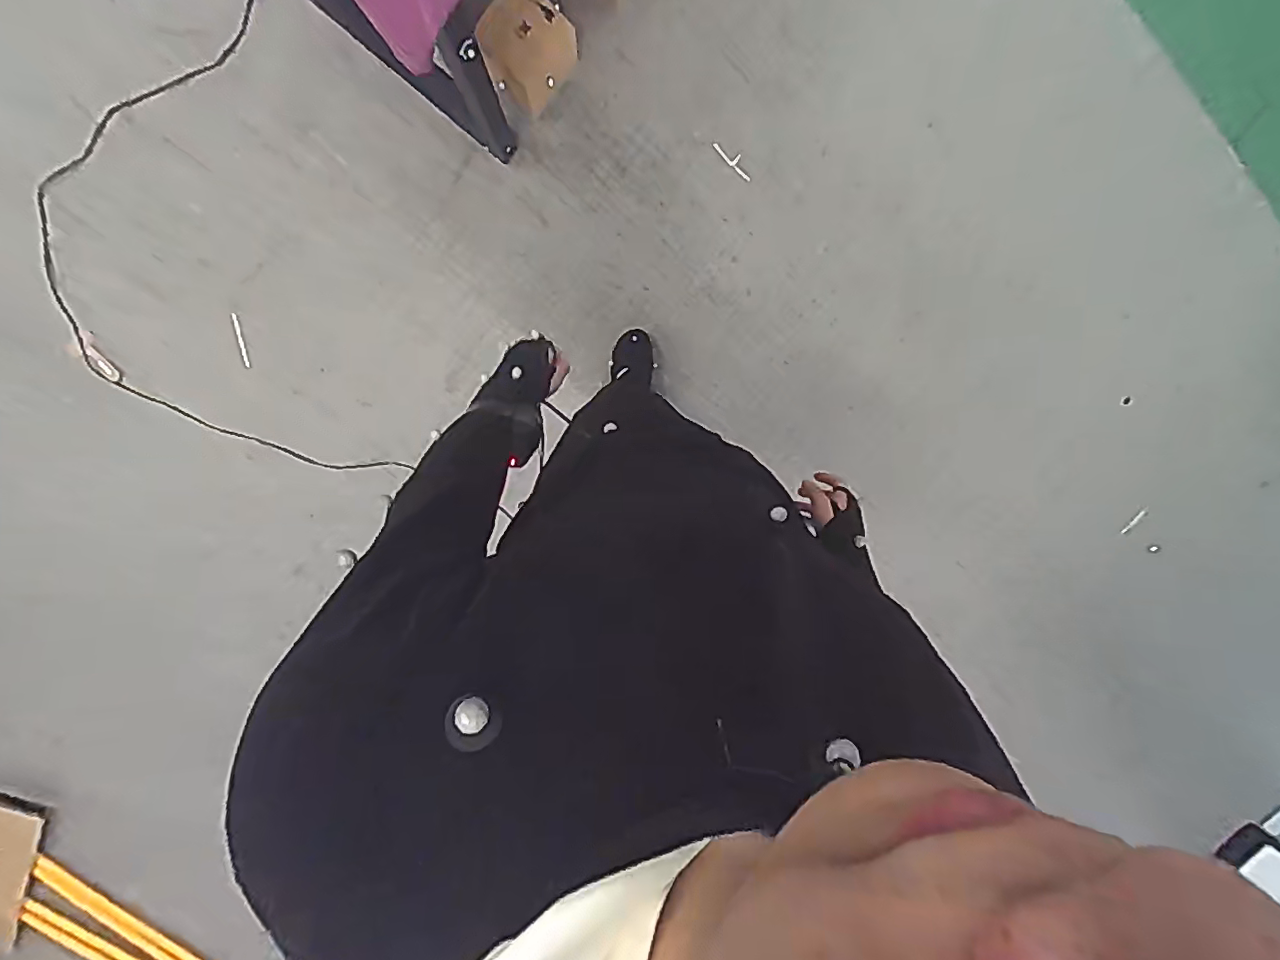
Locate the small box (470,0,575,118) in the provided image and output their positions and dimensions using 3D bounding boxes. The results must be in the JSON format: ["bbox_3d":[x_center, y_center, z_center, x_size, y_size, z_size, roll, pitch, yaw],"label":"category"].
[{"bbox_3d":[-0.266,-1.014,1.280,0.168,0.176,0.179,41,97,-12],"label":"small box"}]
